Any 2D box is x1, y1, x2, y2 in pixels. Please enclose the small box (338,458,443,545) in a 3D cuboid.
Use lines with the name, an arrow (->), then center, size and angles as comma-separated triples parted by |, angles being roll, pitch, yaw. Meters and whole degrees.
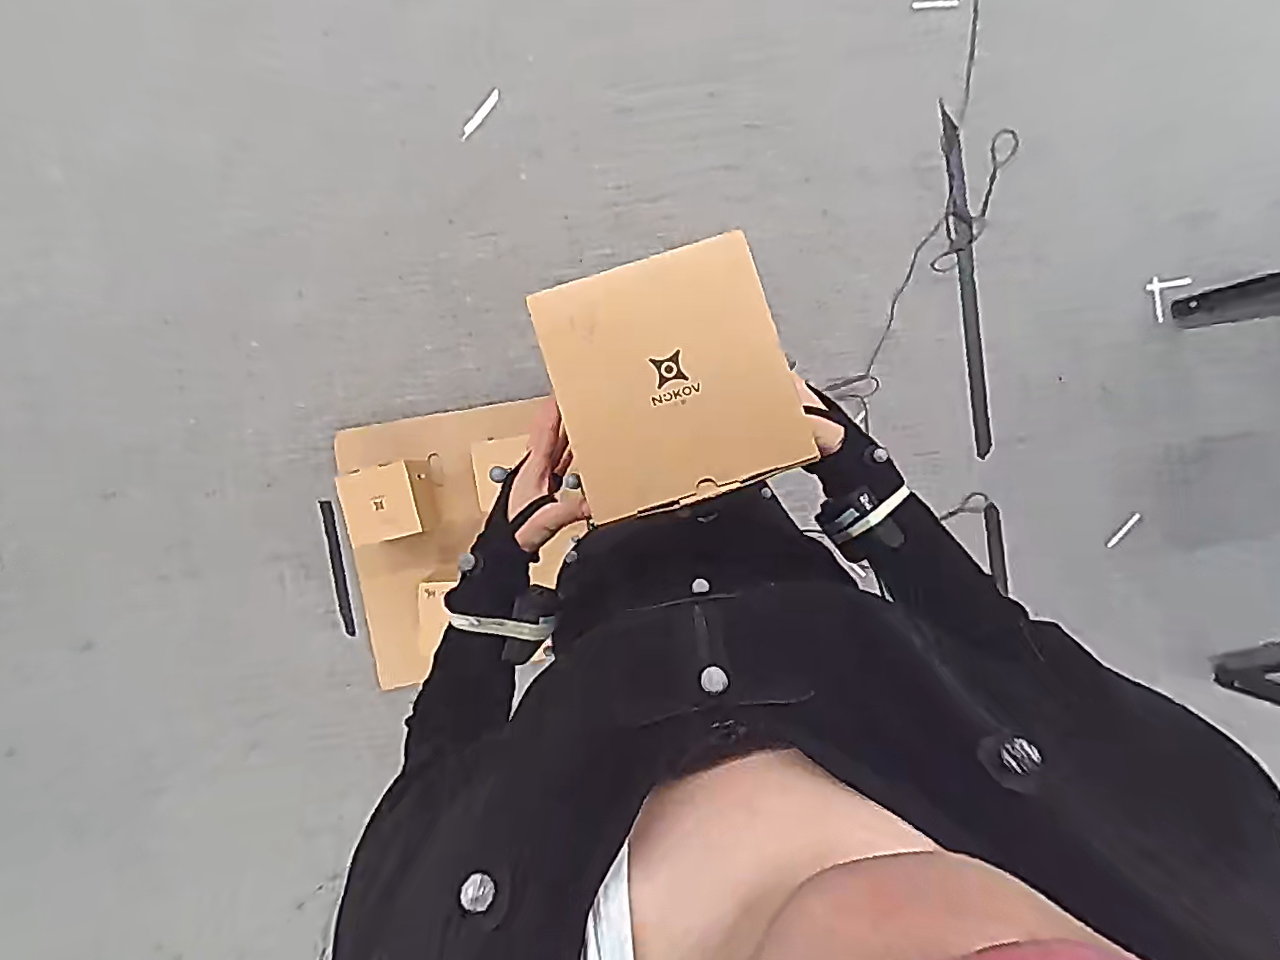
small box -> -0.609, 0.050, 1.340 | 0.168, 0.176, 0.179 | -15, 93, -4

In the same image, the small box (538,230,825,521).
small box -> 0.027, -0.070, 0.459 | 0.168, 0.176, 0.179 | -18, 87, 0

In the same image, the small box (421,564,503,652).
small box -> -0.441, 0.316, 1.360 | 0.168, 0.176, 0.179 | -1, 93, -6

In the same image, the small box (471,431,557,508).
small box -> -0.311, -0.027, 1.365 | 0.179, 0.176, 0.168 | -10, 93, -6
